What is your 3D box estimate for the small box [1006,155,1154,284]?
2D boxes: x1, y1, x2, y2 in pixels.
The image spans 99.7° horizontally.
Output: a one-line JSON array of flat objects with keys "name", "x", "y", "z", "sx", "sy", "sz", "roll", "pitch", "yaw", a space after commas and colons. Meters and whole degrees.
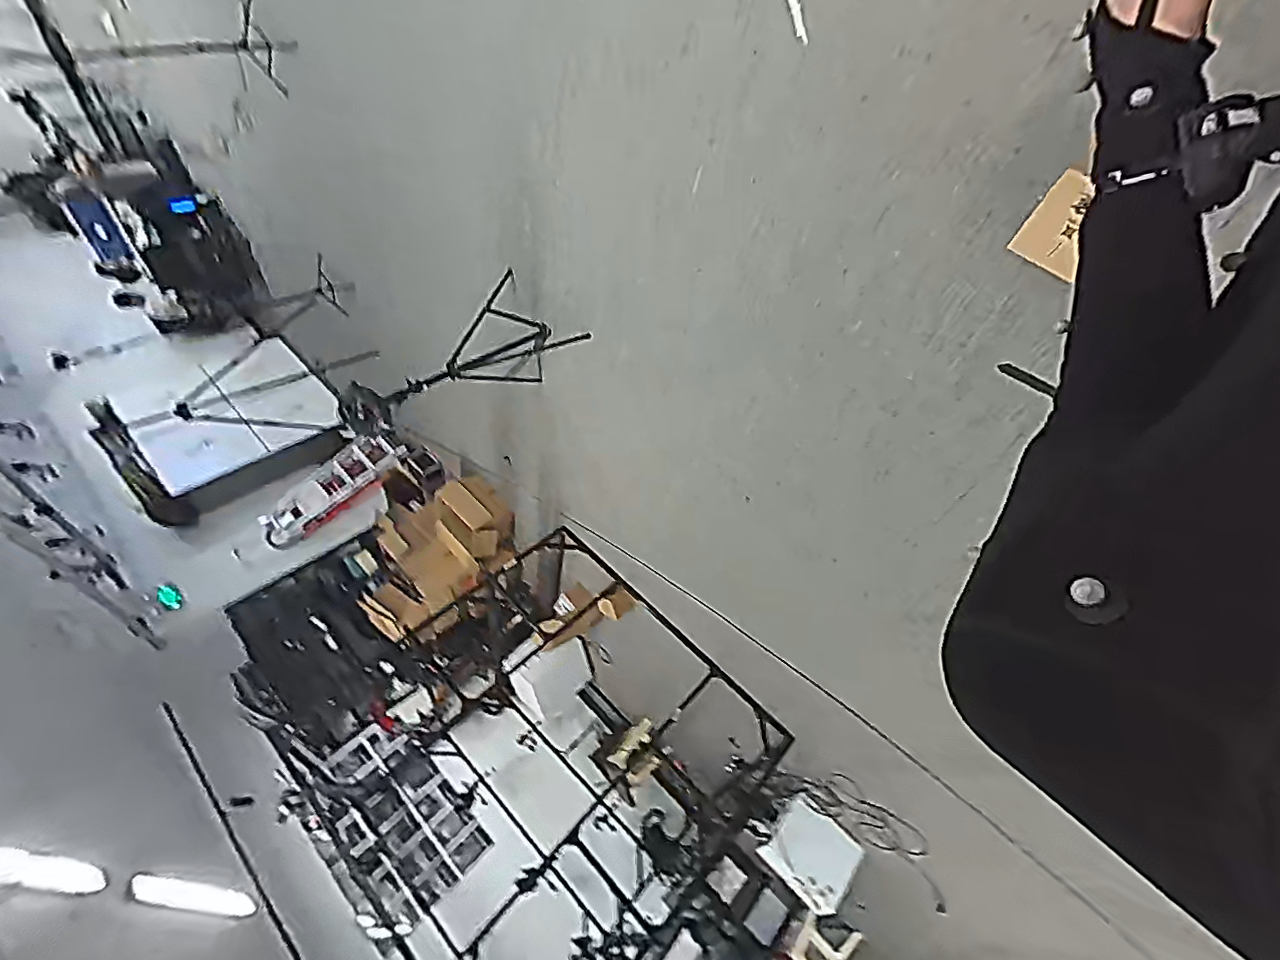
[{"name": "small box", "x": 0.929, "y": -0.555, "z": 1.141, "sx": 0.168, "sy": 0.176, "sz": 0.179, "roll": 42, "pitch": 145, "yaw": 19}]
